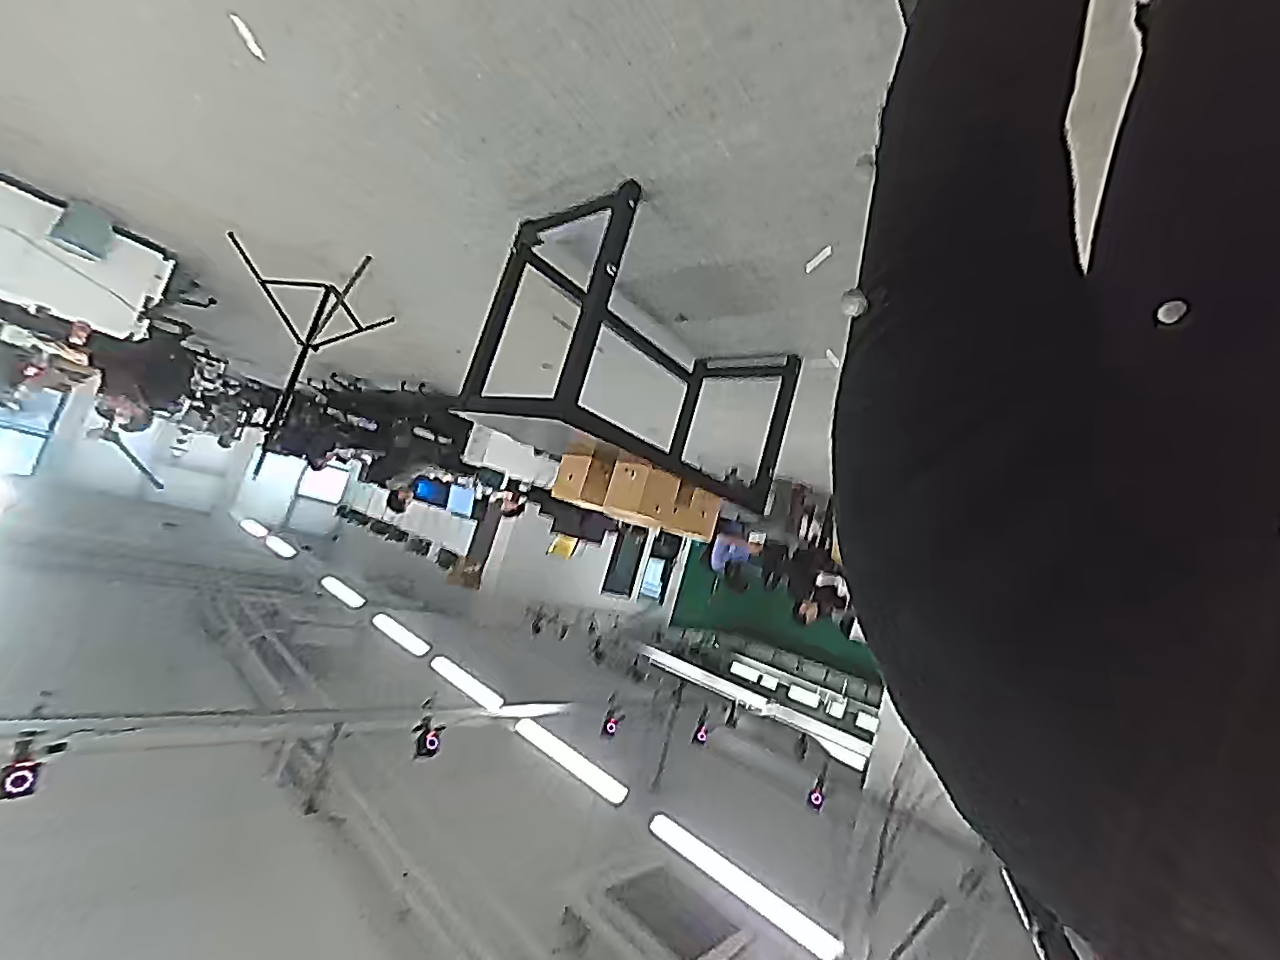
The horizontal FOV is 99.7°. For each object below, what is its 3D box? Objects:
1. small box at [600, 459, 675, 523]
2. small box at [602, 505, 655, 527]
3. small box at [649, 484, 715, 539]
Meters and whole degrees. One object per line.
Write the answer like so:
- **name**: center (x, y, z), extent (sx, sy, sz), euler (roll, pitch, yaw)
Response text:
- **small box**: center (-0.002, 0.037, 1.865), extent (0.168, 0.176, 0.179), euler (9, 169, 43)
- **small box**: center (-0.025, 0.081, 2.234), extent (0.179, 0.176, 0.168), euler (9, 170, 41)
- **small box**: center (0.166, 0.113, 2.044), extent (0.168, 0.176, 0.179), euler (23, 170, -41)
